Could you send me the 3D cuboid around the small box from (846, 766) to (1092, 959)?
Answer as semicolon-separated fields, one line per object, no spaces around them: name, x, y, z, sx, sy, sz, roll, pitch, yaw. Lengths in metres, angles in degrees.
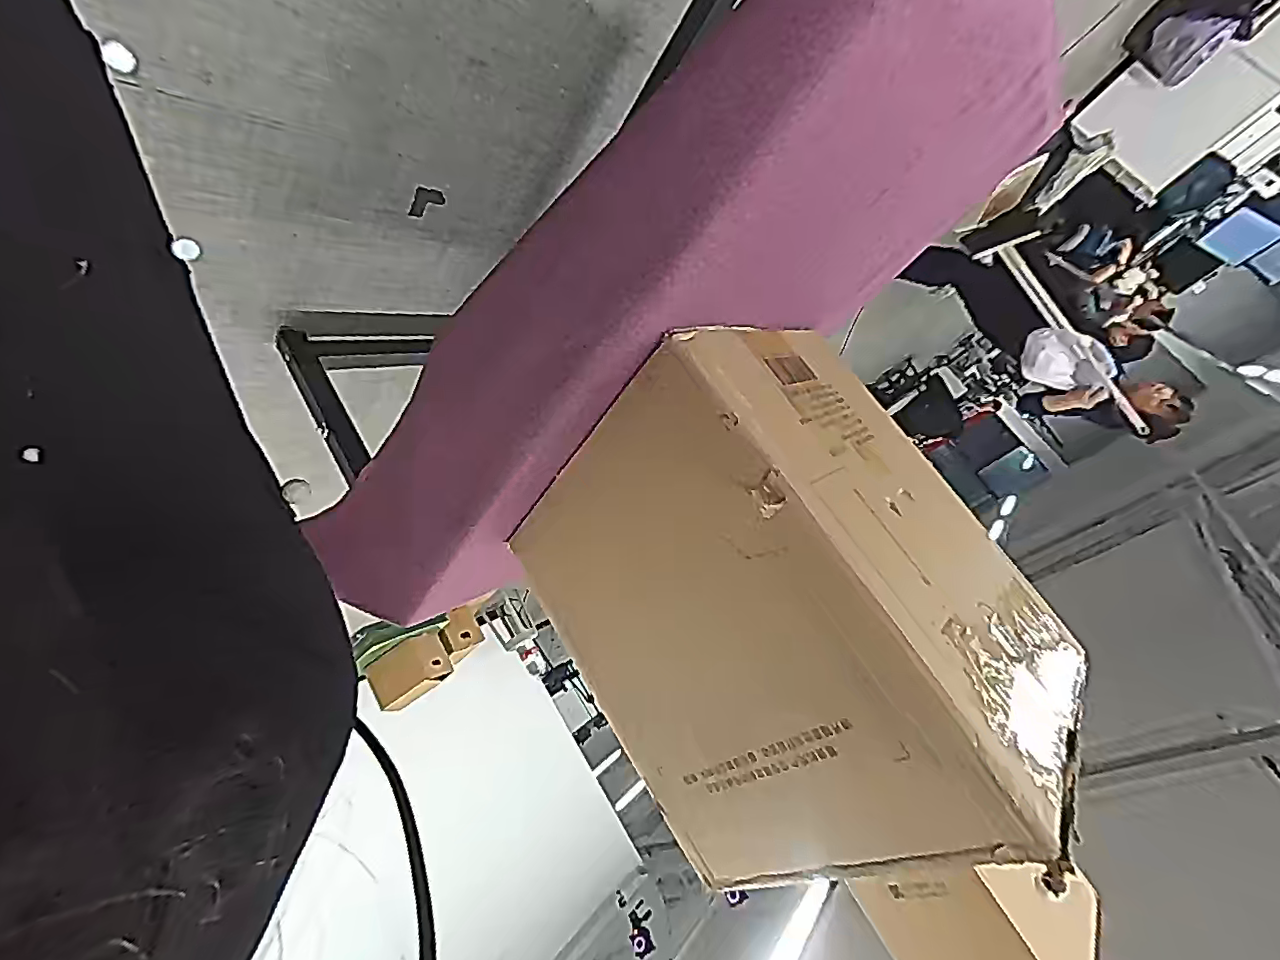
small box;0.377;0.469;0.629;0.179;0.176;0.168;-19;160;-48
